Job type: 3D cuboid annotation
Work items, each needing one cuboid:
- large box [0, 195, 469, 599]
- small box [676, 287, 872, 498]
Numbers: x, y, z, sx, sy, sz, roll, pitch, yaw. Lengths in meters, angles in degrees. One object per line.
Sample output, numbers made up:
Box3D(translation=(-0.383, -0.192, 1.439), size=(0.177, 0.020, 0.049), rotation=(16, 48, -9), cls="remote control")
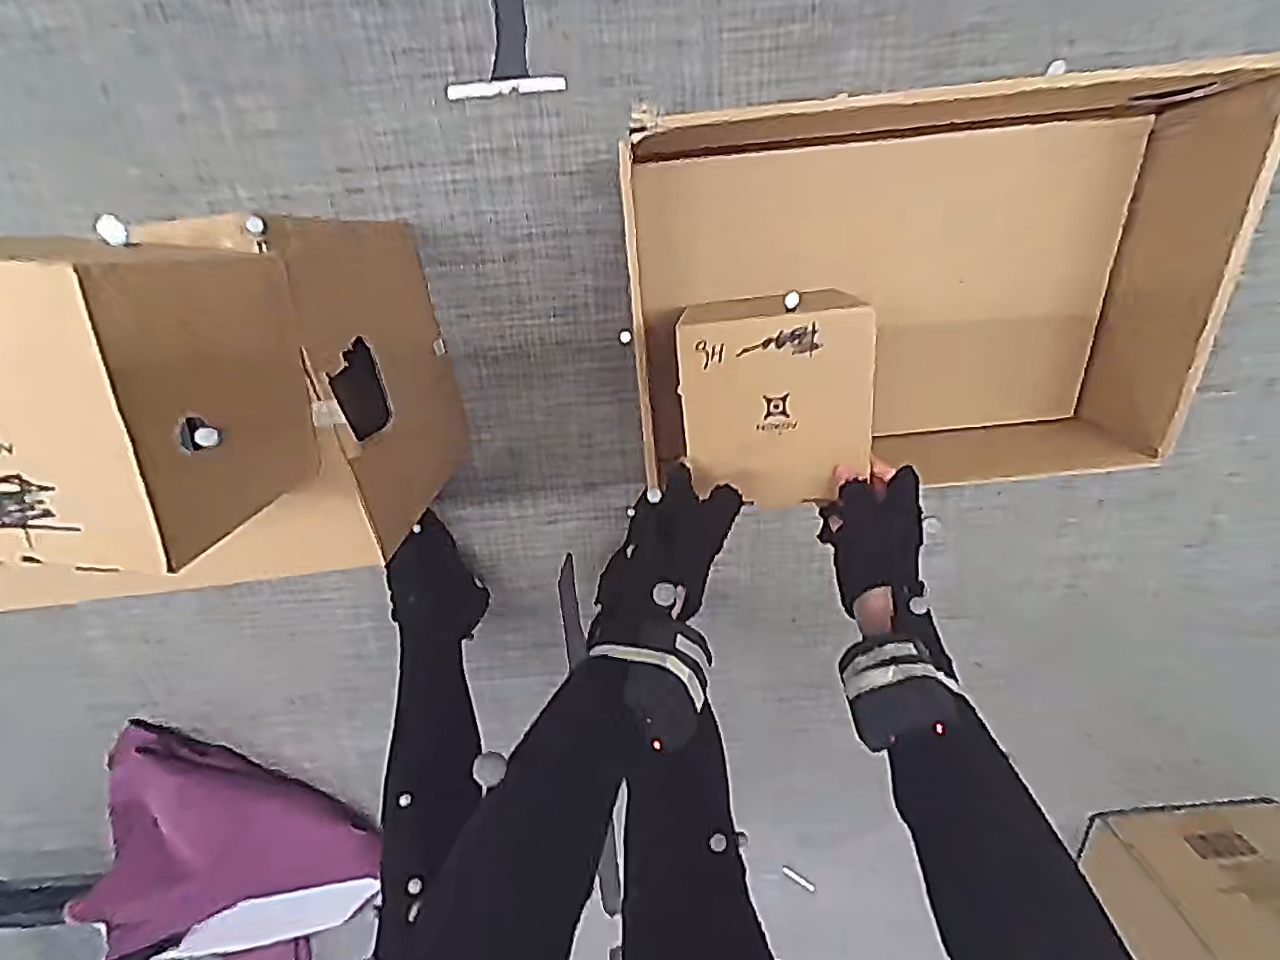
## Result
Box3D(translation=(-0.460, -0.107, 0.608), size=(0.408, 0.320, 0.320), rotation=(-8, 115, 1), cls="large box")
Box3D(translation=(0.132, -0.095, 0.562), size=(0.168, 0.176, 0.179), rotation=(-3, 113, 10), cls="small box")
